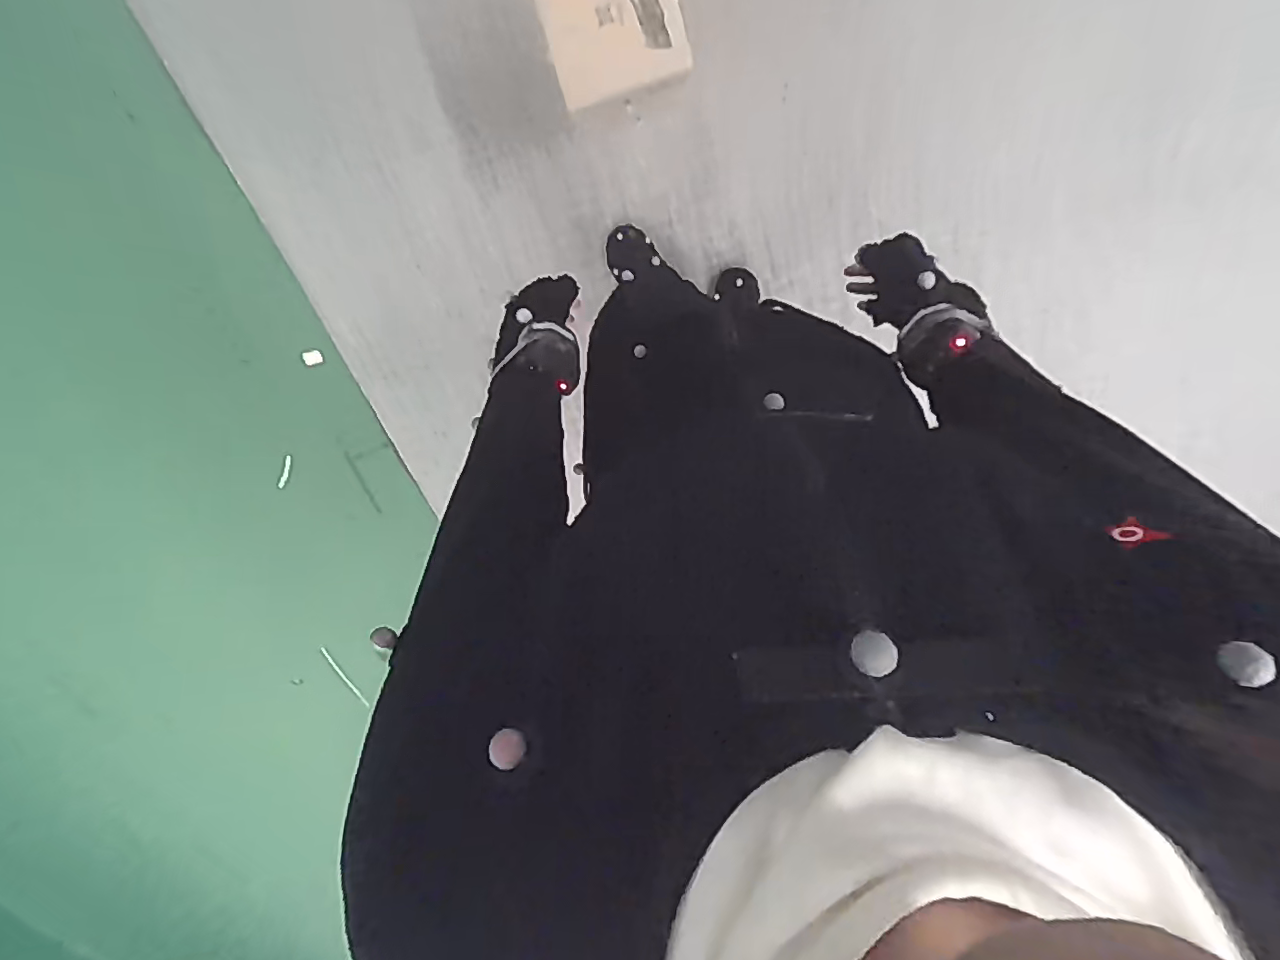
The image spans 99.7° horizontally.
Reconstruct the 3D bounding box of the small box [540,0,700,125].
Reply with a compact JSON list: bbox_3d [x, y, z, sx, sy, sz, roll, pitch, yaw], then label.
[{"bbox_3d":[-0.028,-0.621,0.751,0.179,0.176,0.168,-16,117,9],"label":"small box"}]
